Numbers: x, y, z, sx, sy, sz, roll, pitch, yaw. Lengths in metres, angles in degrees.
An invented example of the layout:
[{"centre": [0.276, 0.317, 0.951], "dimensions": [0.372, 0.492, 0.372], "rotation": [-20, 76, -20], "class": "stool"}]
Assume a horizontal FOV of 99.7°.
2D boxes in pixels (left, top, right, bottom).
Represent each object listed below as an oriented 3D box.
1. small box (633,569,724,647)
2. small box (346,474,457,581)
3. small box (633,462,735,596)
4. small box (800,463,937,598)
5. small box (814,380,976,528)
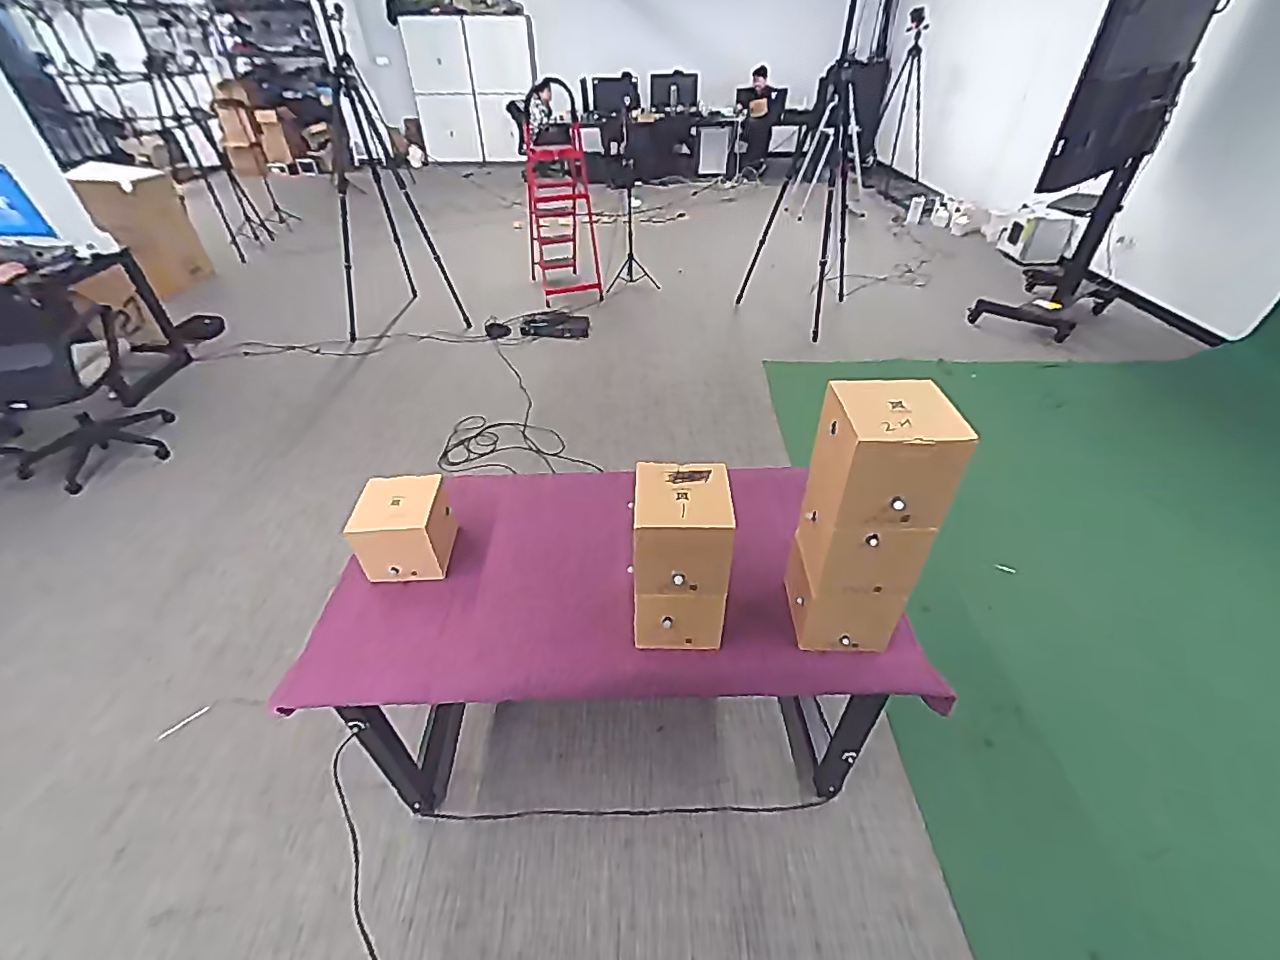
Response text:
[{"centre": [0.074, 0.215, 1.076], "dimensions": [0.168, 0.176, 0.179], "rotation": [0, 38, 2], "class": "small box"}, {"centre": [-0.523, 0.106, 1.216], "dimensions": [0.168, 0.176, 0.179], "rotation": [-3, 41, -2], "class": "small box"}, {"centre": [0.074, 0.085, 0.975], "dimensions": [0.168, 0.176, 0.179], "rotation": [0, 39, 2], "class": "small box"}, {"centre": [0.391, 0.086, 0.963], "dimensions": [0.168, 0.176, 0.179], "rotation": [0, 38, 3], "class": "small box"}, {"centre": [0.386, -0.044, 0.862], "dimensions": [0.168, 0.176, 0.179], "rotation": [0, 40, 3], "class": "small box"}]
